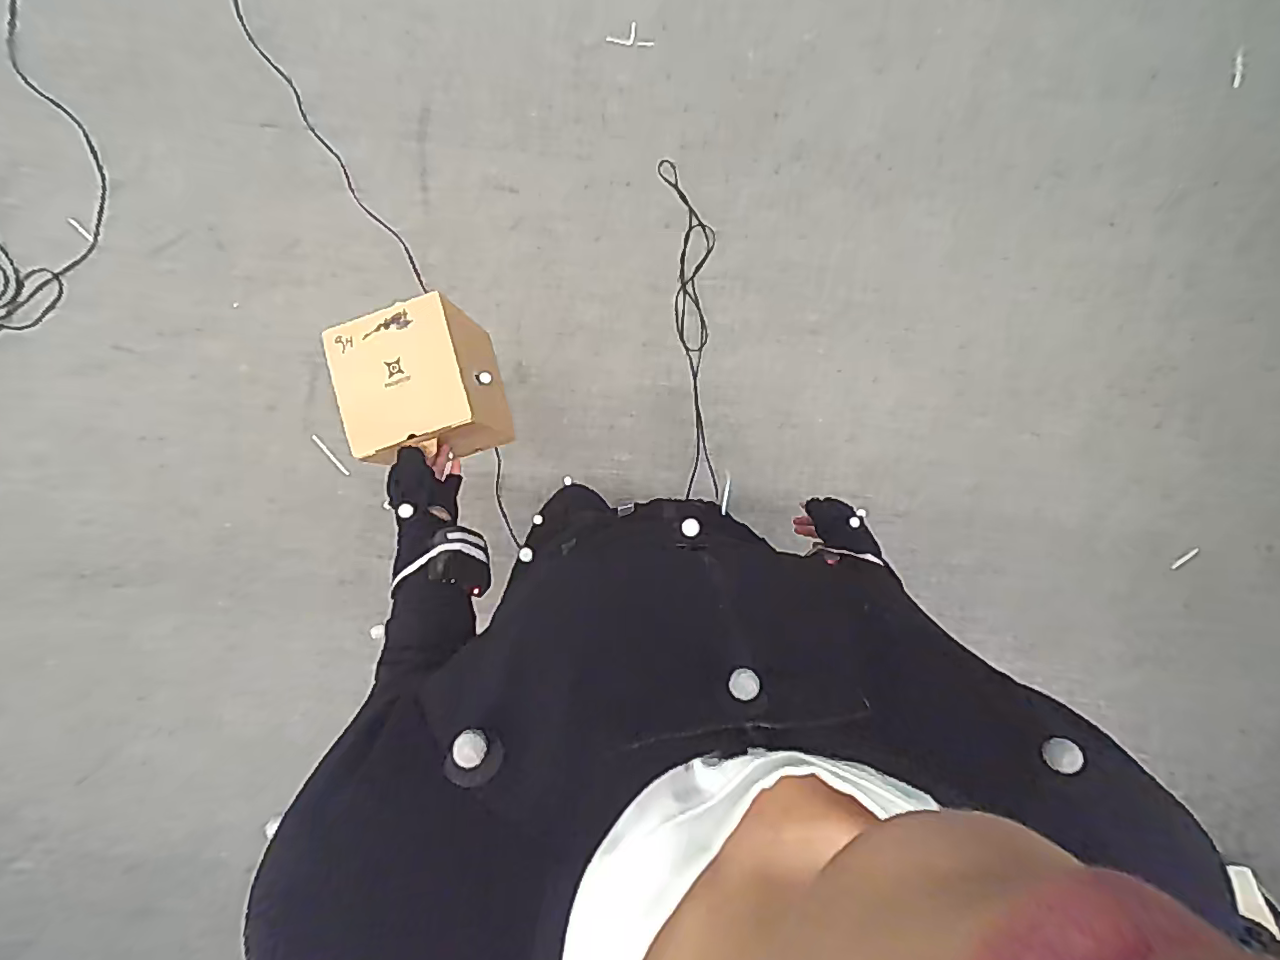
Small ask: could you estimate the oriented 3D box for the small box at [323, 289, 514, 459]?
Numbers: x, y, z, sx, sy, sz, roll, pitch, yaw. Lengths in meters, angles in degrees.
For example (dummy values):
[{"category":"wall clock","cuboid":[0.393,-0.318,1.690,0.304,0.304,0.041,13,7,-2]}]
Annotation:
[{"category":"small box","cuboid":[-0.293,-0.132,0.753,0.168,0.176,0.179,-17,86,5]}]
